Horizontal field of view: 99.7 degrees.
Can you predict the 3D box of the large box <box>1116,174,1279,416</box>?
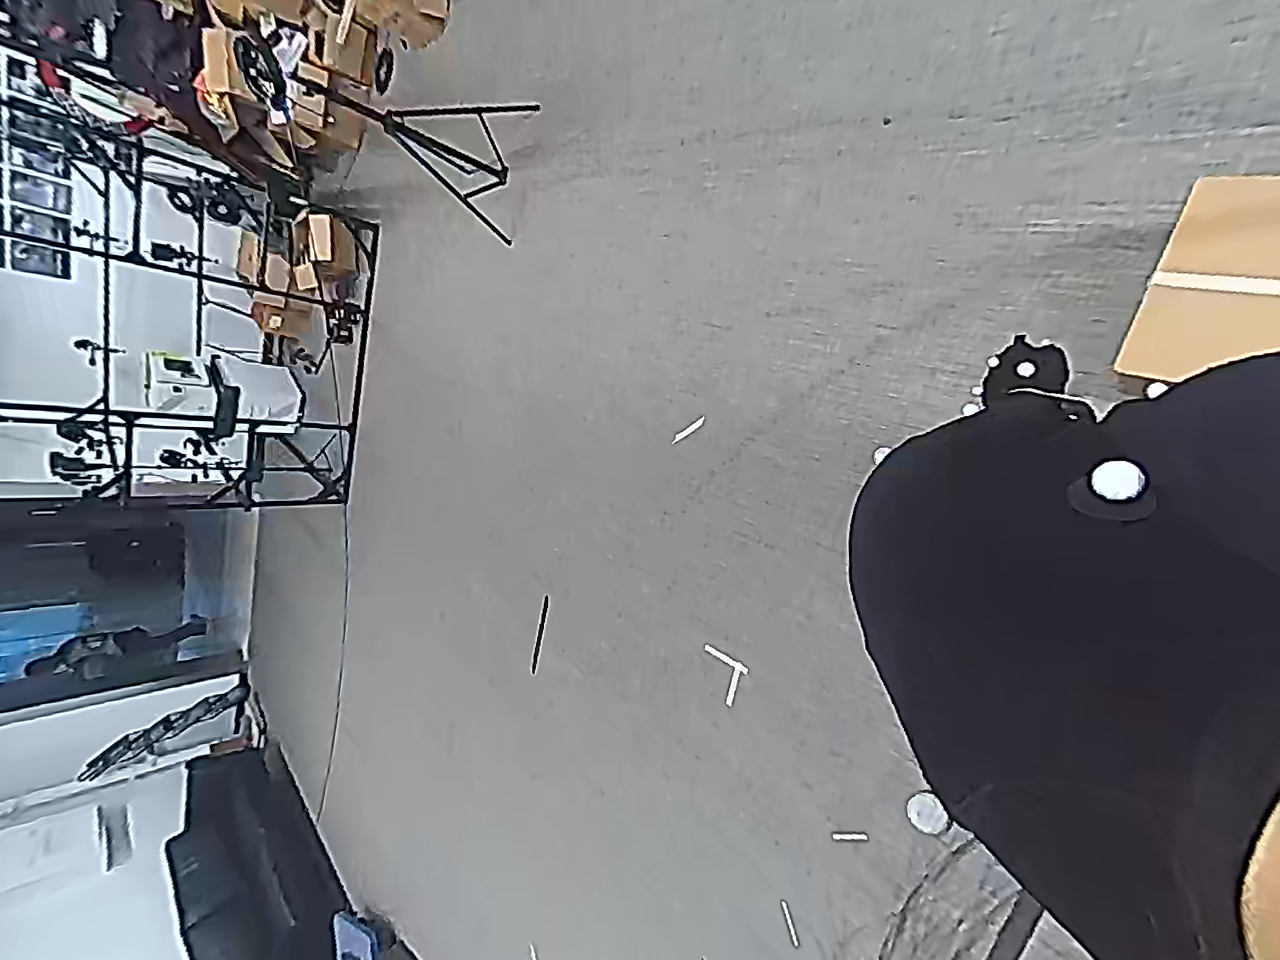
[{"bbox_3d":[1.082,-0.275,0.876,0.408,0.320,0.320,25,108,39],"label":"large box"}]
